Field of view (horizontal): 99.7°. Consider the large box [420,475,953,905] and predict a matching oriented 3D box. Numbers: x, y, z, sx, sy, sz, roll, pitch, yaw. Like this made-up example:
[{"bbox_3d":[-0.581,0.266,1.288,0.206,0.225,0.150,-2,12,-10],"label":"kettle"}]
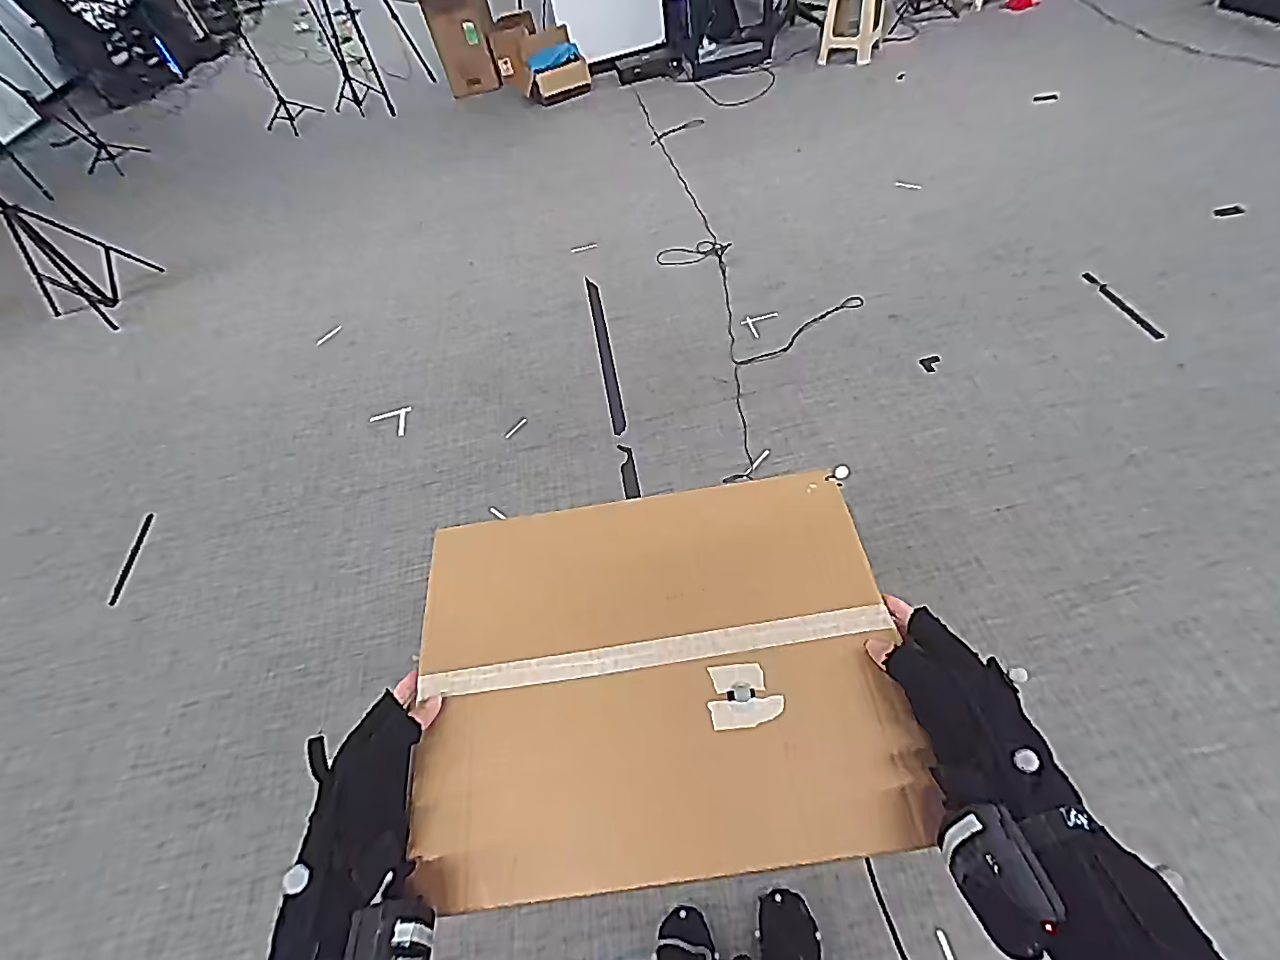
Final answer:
[{"bbox_3d":[0.027,0.234,0.597,0.408,0.320,0.320,-9,56,0],"label":"large box"}]
